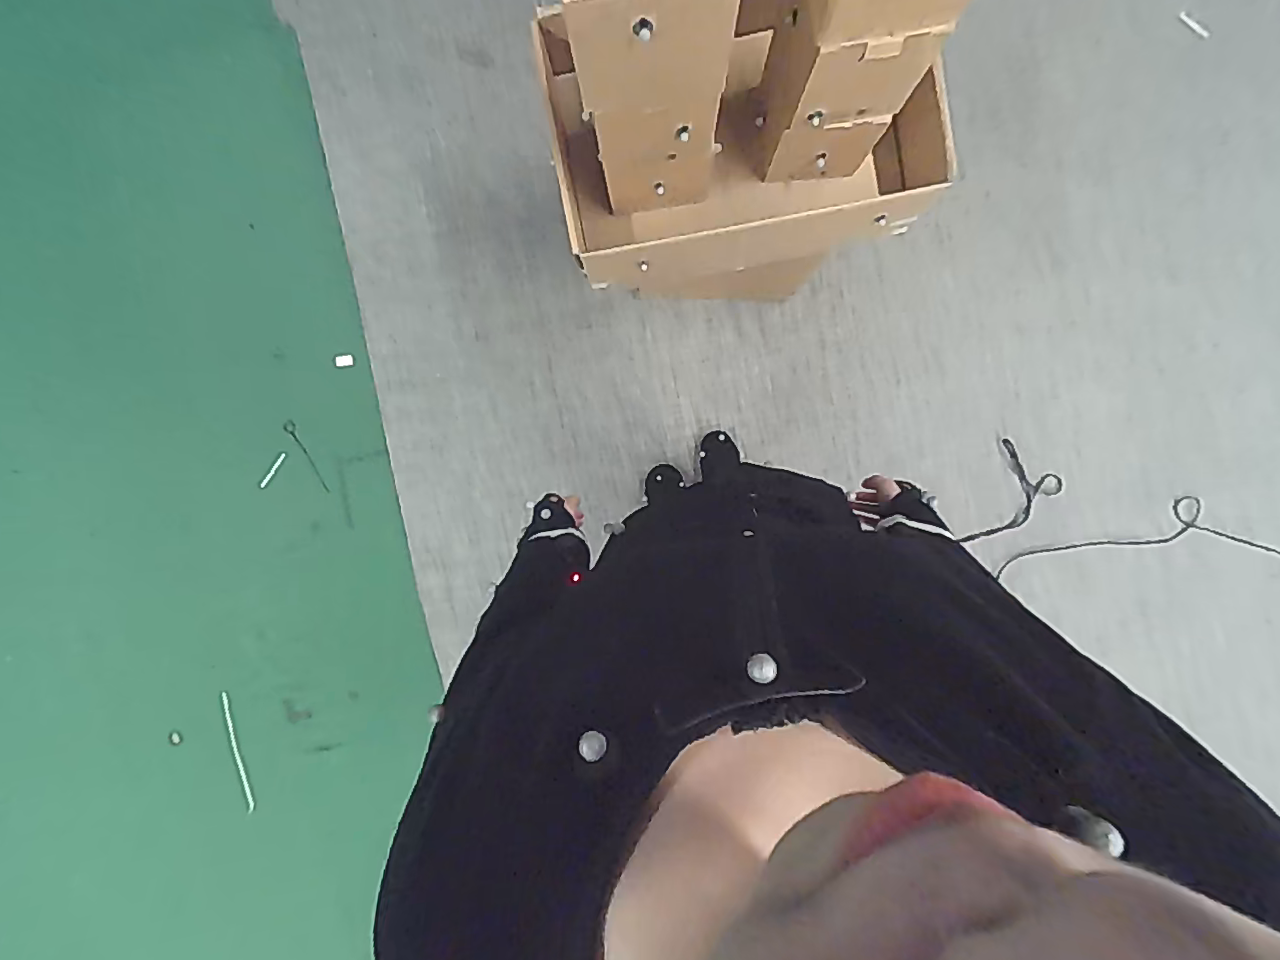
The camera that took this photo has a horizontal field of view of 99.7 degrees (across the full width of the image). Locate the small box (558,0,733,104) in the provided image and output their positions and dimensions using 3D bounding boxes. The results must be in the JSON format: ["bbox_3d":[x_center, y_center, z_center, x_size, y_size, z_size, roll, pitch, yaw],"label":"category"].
[{"bbox_3d":[0.003,-0.541,0.580,0.179,0.176,0.168,-6,94,1],"label":"small box"}]

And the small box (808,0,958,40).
[{"bbox_3d":[0.277,-0.612,0.569,0.179,0.176,0.168,-8,93,2],"label":"small box"}]

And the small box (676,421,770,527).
[{"bbox_3d":[0.206,-0.015,1.402,0.168,0.176,0.179,35,57,25],"label":"small box"}]

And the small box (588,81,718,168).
[{"bbox_3d":[0.008,-0.558,0.744,0.168,0.176,0.179,-9,93,2],"label":"small box"}]

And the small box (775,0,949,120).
[{"bbox_3d":[0.287,-0.621,0.731,0.168,0.176,0.179,-7,93,2],"label":"small box"}]
